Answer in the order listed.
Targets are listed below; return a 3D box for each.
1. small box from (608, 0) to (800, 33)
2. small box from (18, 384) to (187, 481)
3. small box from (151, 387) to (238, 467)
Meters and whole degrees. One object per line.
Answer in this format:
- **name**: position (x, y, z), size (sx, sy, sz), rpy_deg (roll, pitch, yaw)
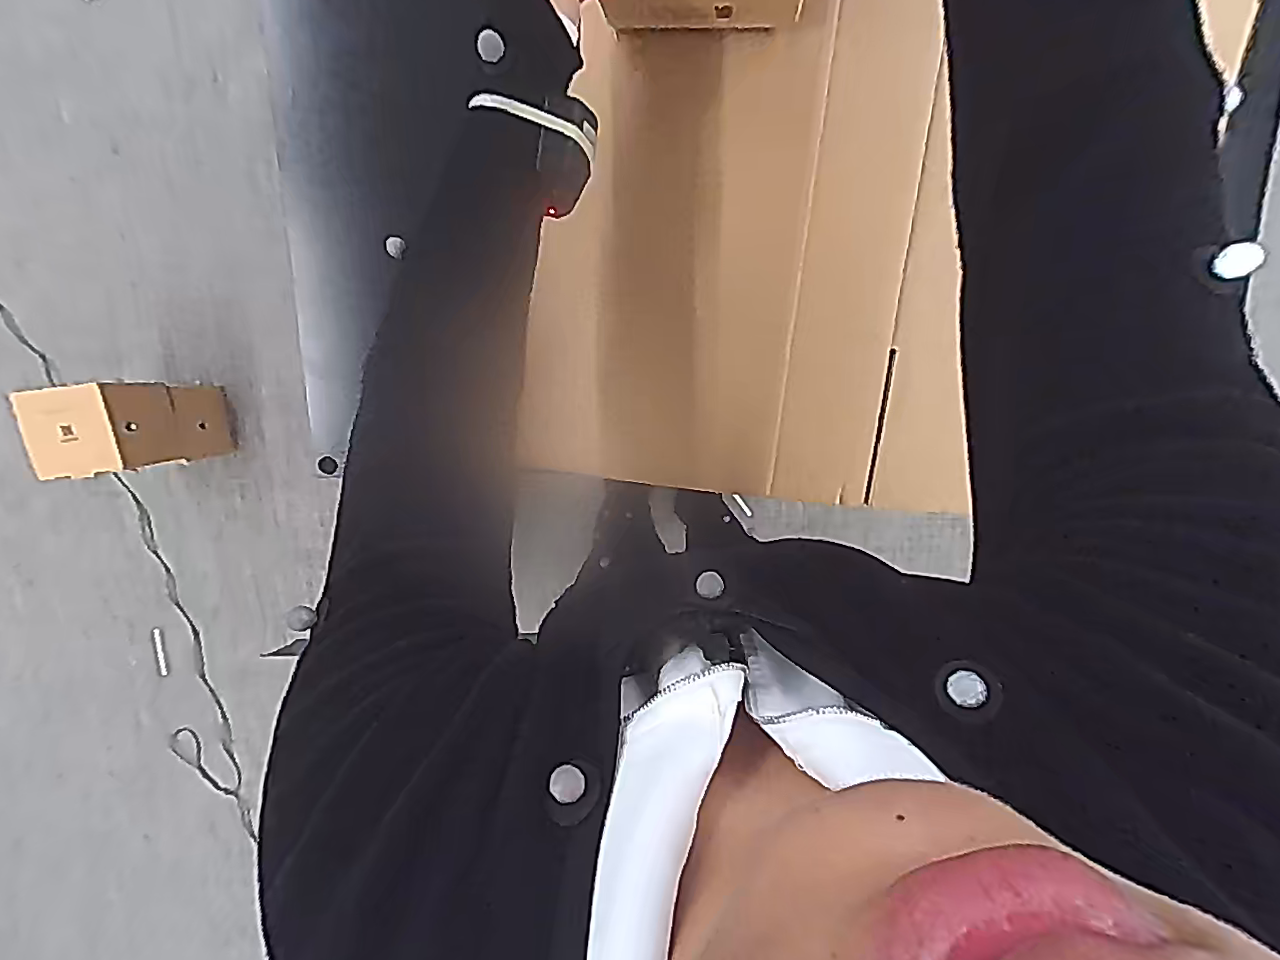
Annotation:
- **small box**: position (0.046, -0.458, 0.370), size (0.168, 0.176, 0.179), rpy_deg (7, 101, 9)
- **small box**: position (-1.105, -0.106, 1.131), size (0.168, 0.176, 0.179), rpy_deg (-8, 100, -2)
- **small box**: position (-1.111, -0.130, 1.292), size (0.168, 0.176, 0.179), rpy_deg (-5, 101, -2)
